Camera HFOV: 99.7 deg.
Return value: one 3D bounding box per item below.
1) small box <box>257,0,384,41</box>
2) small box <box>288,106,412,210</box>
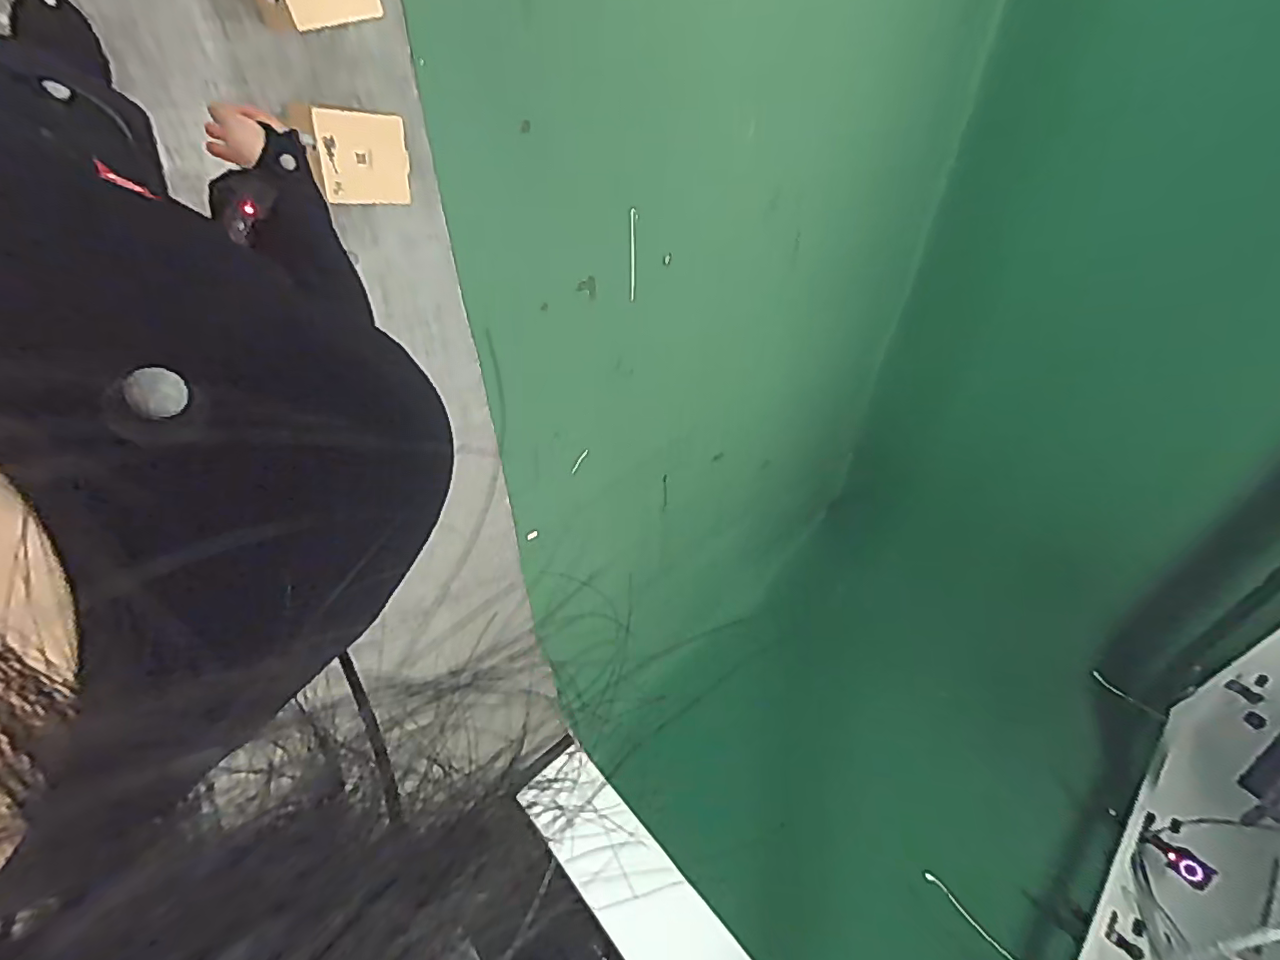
[{"bbox_3d":[-0.602,-0.918,0.972,0.168,0.176,0.179,-36,142,-25],"label":"small box"},{"bbox_3d":[-0.615,-0.685,1.155,0.179,0.176,0.168,-22,135,-38],"label":"small box"}]
